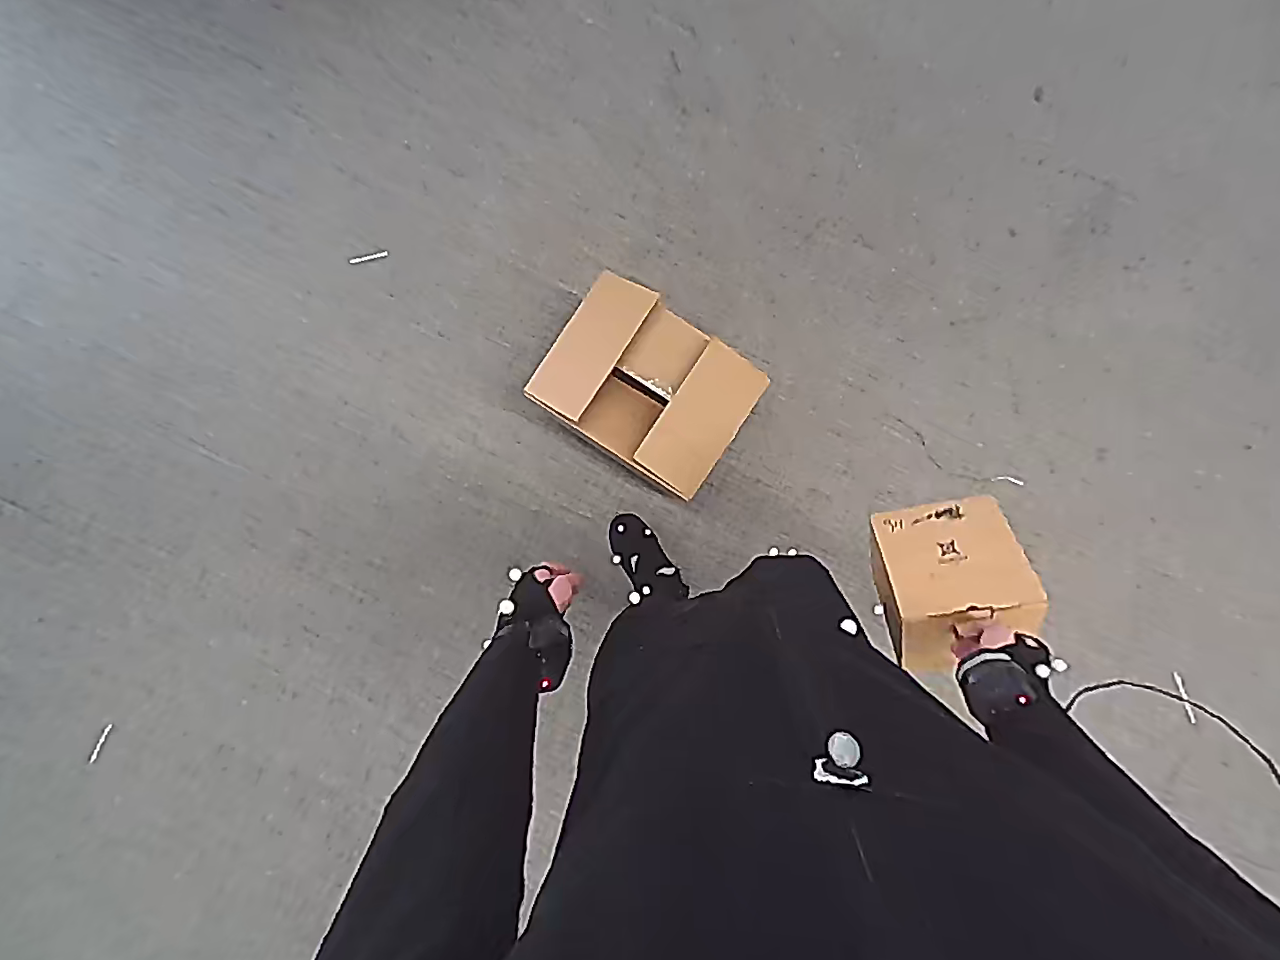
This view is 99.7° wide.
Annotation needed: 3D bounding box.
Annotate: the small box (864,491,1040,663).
[{"bbox_3d":[0.437,0.148,0.778,0.168,0.176,0.179,-15,44,15],"label":"small box"}]
